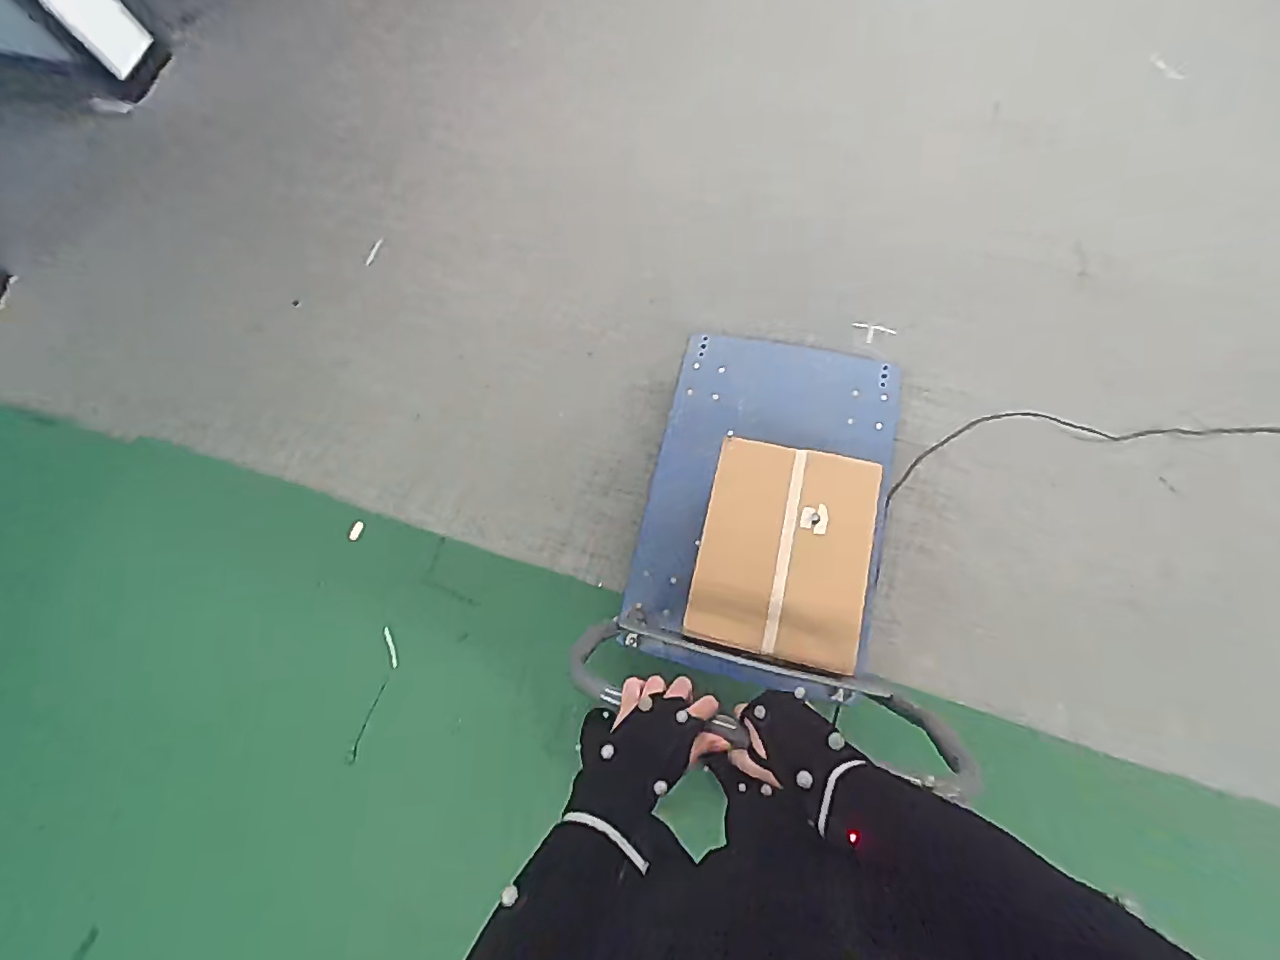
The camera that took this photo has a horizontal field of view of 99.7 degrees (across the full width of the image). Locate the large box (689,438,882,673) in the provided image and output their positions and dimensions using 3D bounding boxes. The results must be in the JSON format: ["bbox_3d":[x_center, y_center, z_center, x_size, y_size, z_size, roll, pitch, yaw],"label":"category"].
[{"bbox_3d":[0.295,0.172,1.160,0.320,0.320,0.408,12,75,9],"label":"large box"}]
